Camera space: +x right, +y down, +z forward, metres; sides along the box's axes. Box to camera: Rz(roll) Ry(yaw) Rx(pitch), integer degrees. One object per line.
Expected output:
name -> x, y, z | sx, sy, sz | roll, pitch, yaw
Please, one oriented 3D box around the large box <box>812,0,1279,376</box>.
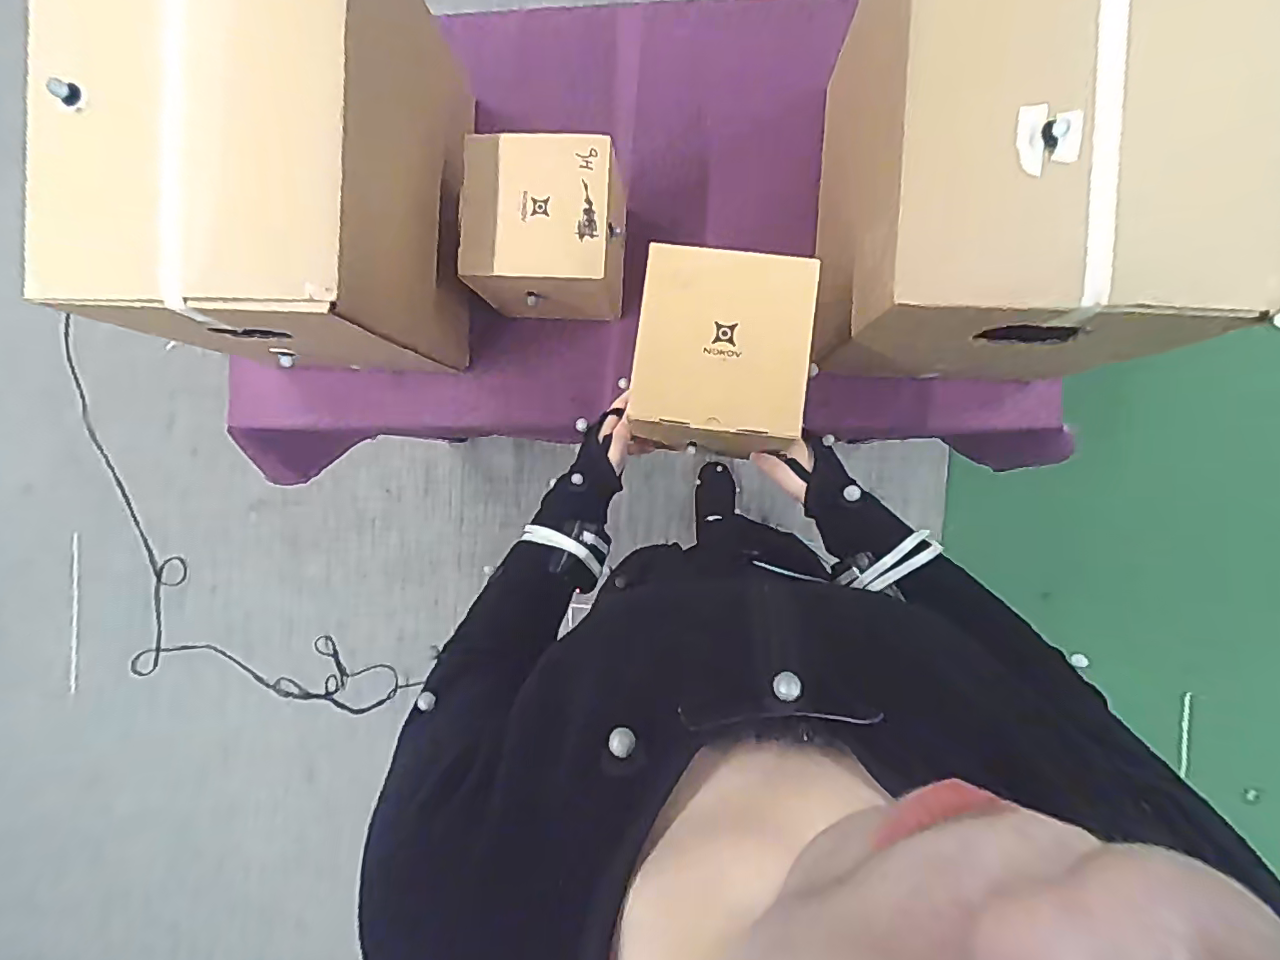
large box -> 0.393, -0.346, 0.602 | 0.320, 0.320, 0.408 | 4, 92, 4
